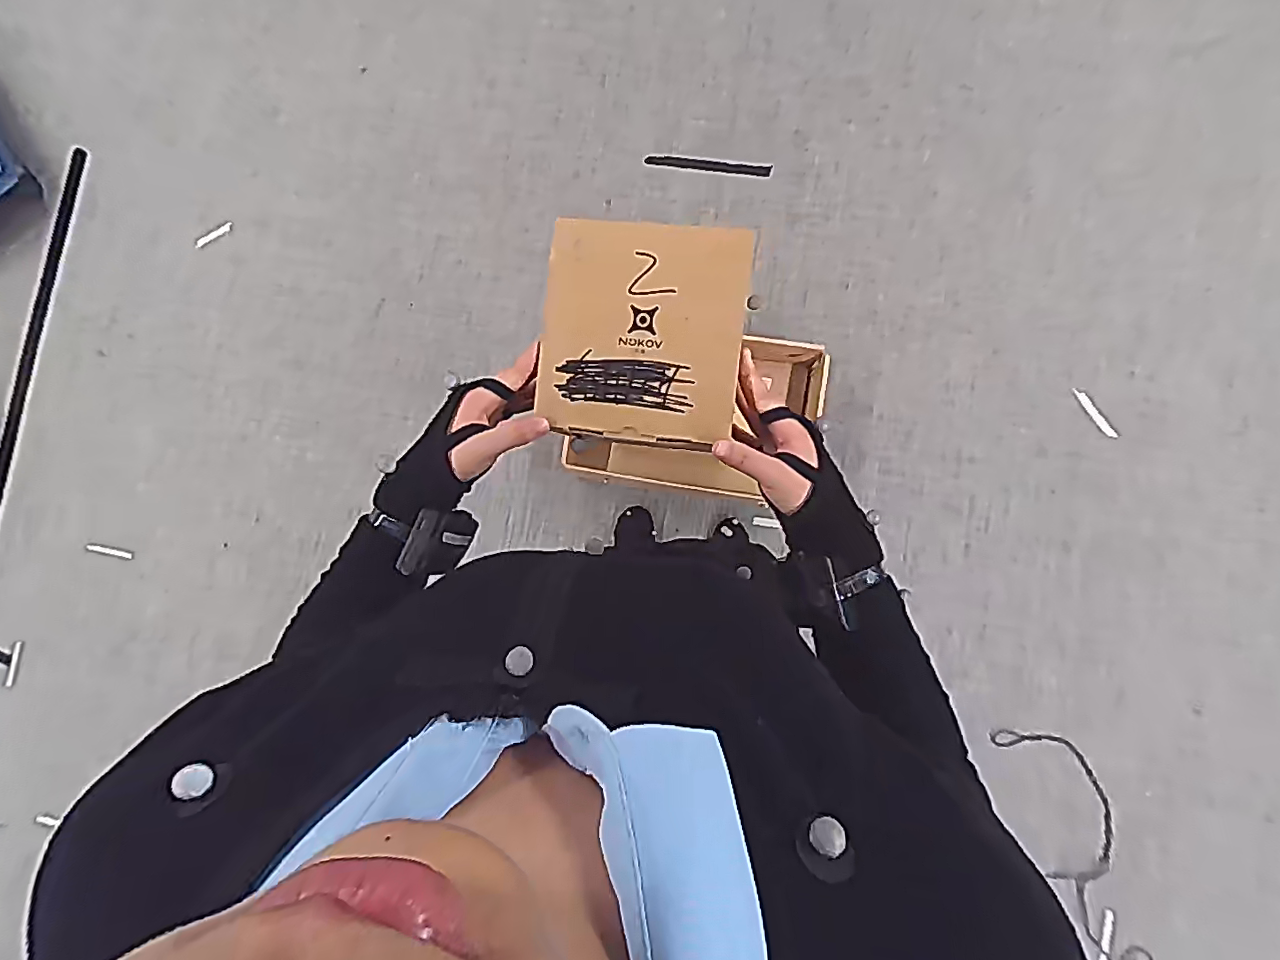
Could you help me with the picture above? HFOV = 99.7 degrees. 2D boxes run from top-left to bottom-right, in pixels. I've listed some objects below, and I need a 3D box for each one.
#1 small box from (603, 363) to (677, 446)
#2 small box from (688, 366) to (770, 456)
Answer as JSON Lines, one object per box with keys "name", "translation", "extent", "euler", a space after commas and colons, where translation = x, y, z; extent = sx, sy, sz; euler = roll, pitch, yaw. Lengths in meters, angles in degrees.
{"name": "small box", "translation": [0.004, -0.187, 1.400], "extent": [0.168, 0.176, 0.179], "euler": [8, 87, 3]}
{"name": "small box", "translation": [0.221, -0.171, 1.386], "extent": [0.168, 0.176, 0.179], "euler": [15, 88, 6]}
